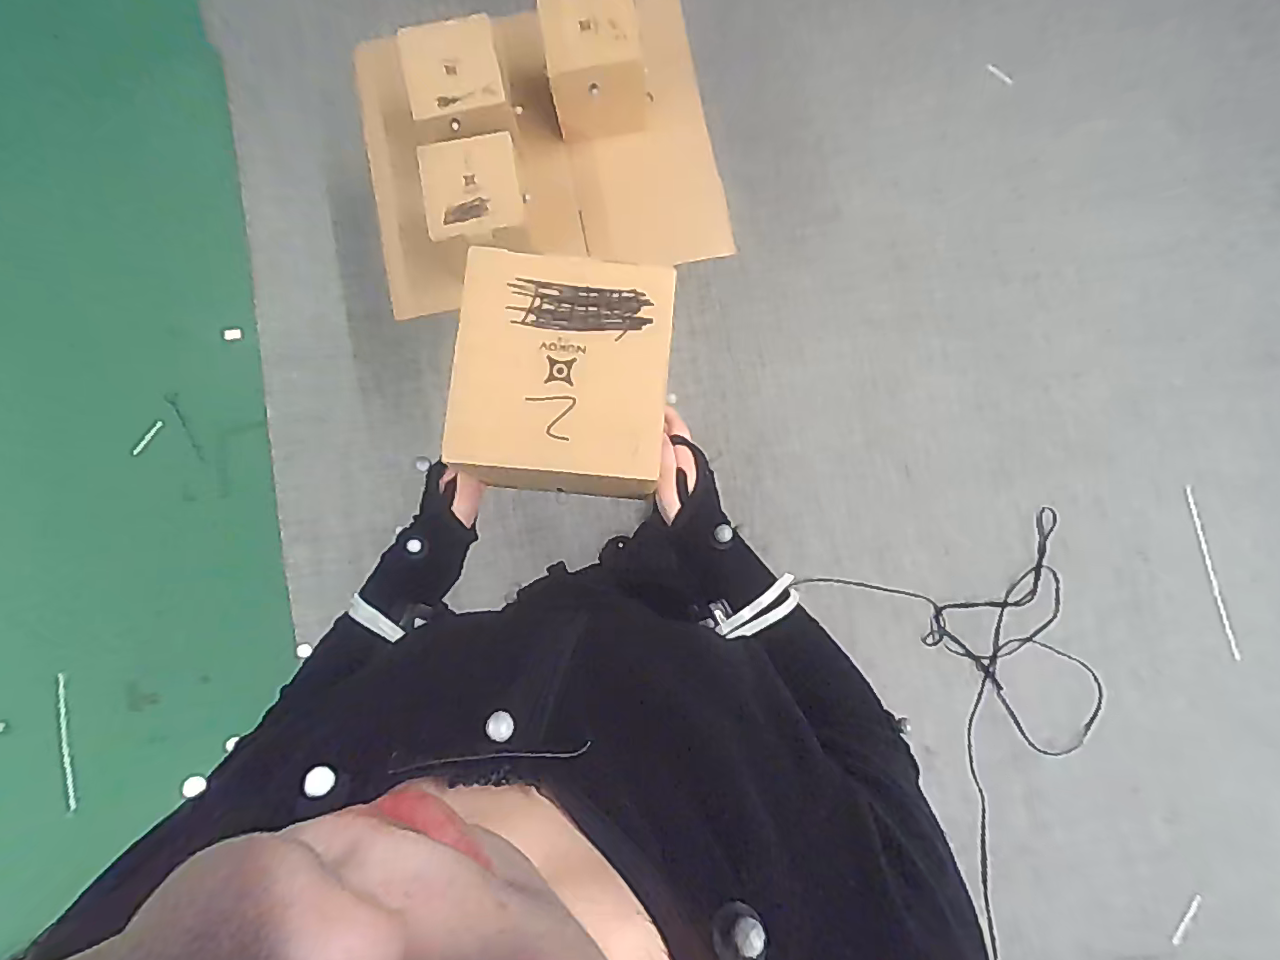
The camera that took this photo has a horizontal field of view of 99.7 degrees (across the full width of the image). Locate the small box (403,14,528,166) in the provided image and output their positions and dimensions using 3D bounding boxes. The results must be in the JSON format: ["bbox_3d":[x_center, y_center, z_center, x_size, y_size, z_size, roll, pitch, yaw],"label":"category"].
[{"bbox_3d":[-0.322,-0.716,1.025,0.168,0.176,0.179,-12,84,0],"label":"small box"}]

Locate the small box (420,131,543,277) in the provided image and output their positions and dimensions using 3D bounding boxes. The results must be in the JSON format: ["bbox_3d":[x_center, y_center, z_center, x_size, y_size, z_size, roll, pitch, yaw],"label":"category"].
[{"bbox_3d":[-0.284,-0.497,1.005,0.168,0.176,0.179,-10,84,0],"label":"small box"}]

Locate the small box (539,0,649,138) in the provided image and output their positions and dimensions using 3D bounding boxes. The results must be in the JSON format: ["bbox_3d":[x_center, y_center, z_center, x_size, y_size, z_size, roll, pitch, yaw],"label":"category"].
[{"bbox_3d":[-0.080,-0.790,1.030,0.179,0.176,0.168,-8,85,1],"label":"small box"}]
